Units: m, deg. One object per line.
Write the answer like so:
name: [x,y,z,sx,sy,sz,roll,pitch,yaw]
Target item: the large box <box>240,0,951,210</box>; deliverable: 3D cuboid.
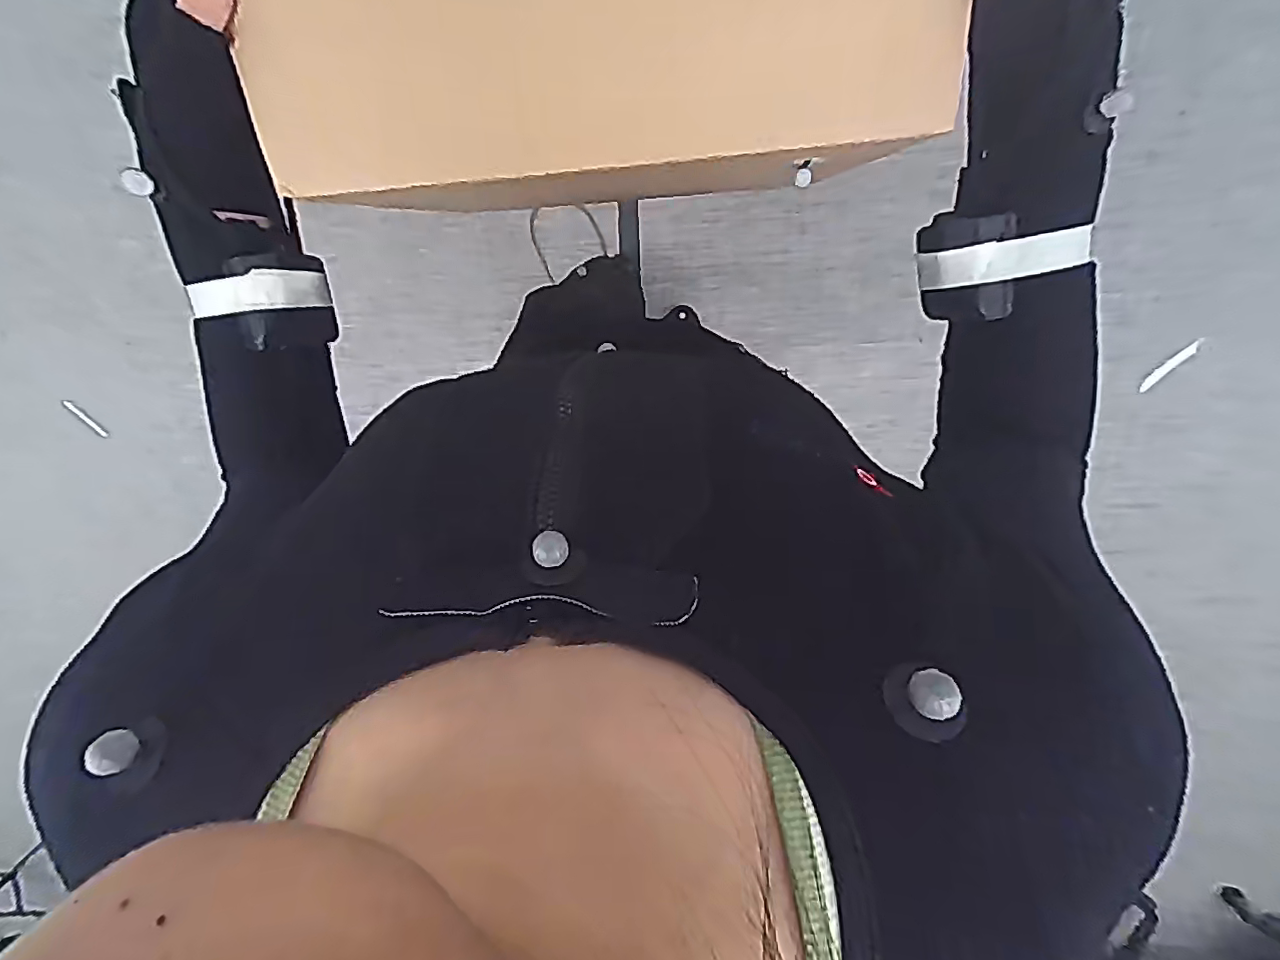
large box: [-0.025,-0.396,0.407,0.408,0.320,0.320,-3,114,5]
